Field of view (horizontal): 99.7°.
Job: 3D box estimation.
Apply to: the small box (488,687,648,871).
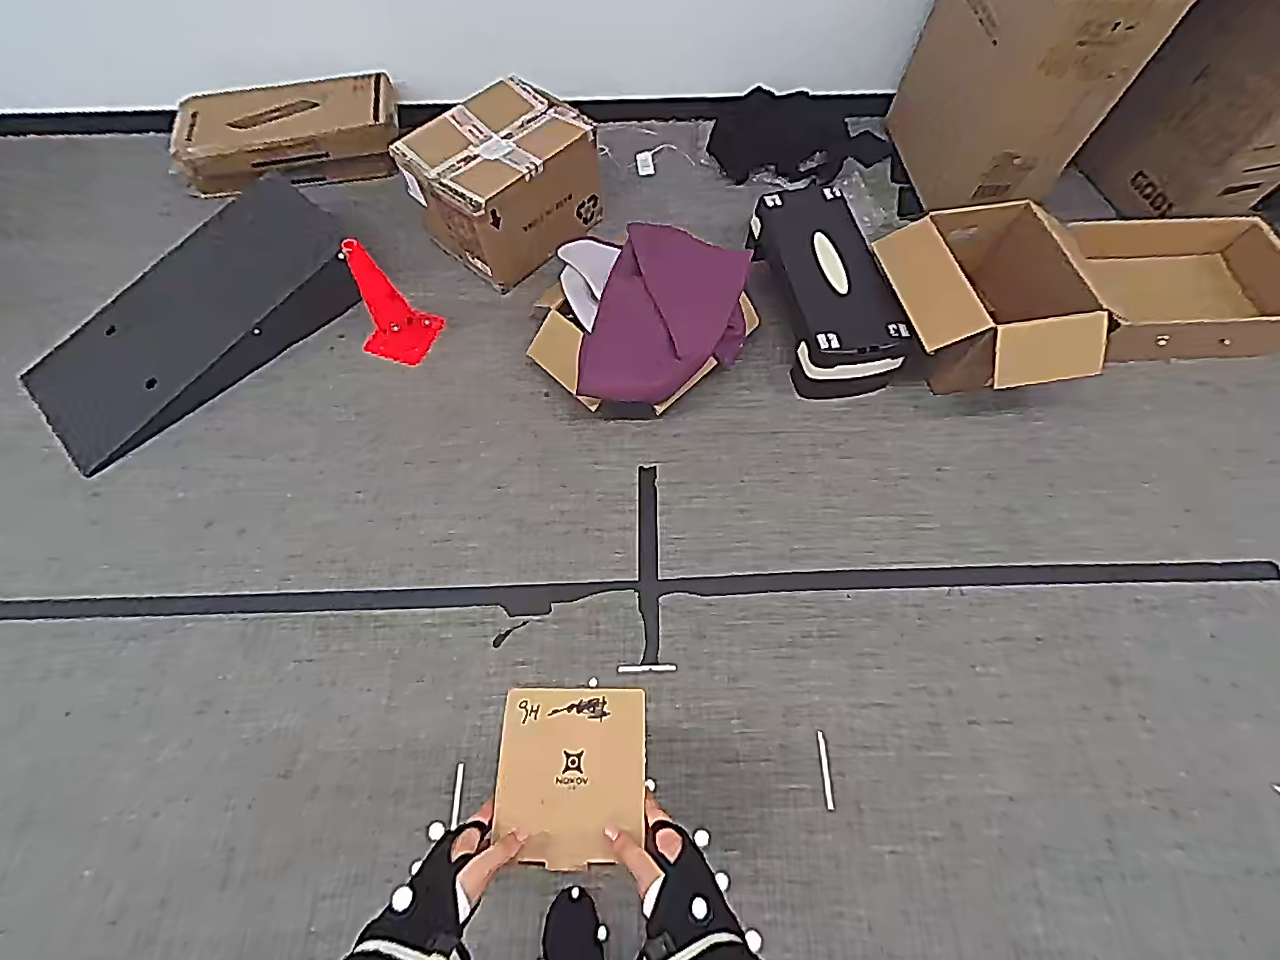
[{"bbox_3d":[-0.074,0.357,0.663,0.168,0.176,0.179,1,62,0],"label":"small box"}]
